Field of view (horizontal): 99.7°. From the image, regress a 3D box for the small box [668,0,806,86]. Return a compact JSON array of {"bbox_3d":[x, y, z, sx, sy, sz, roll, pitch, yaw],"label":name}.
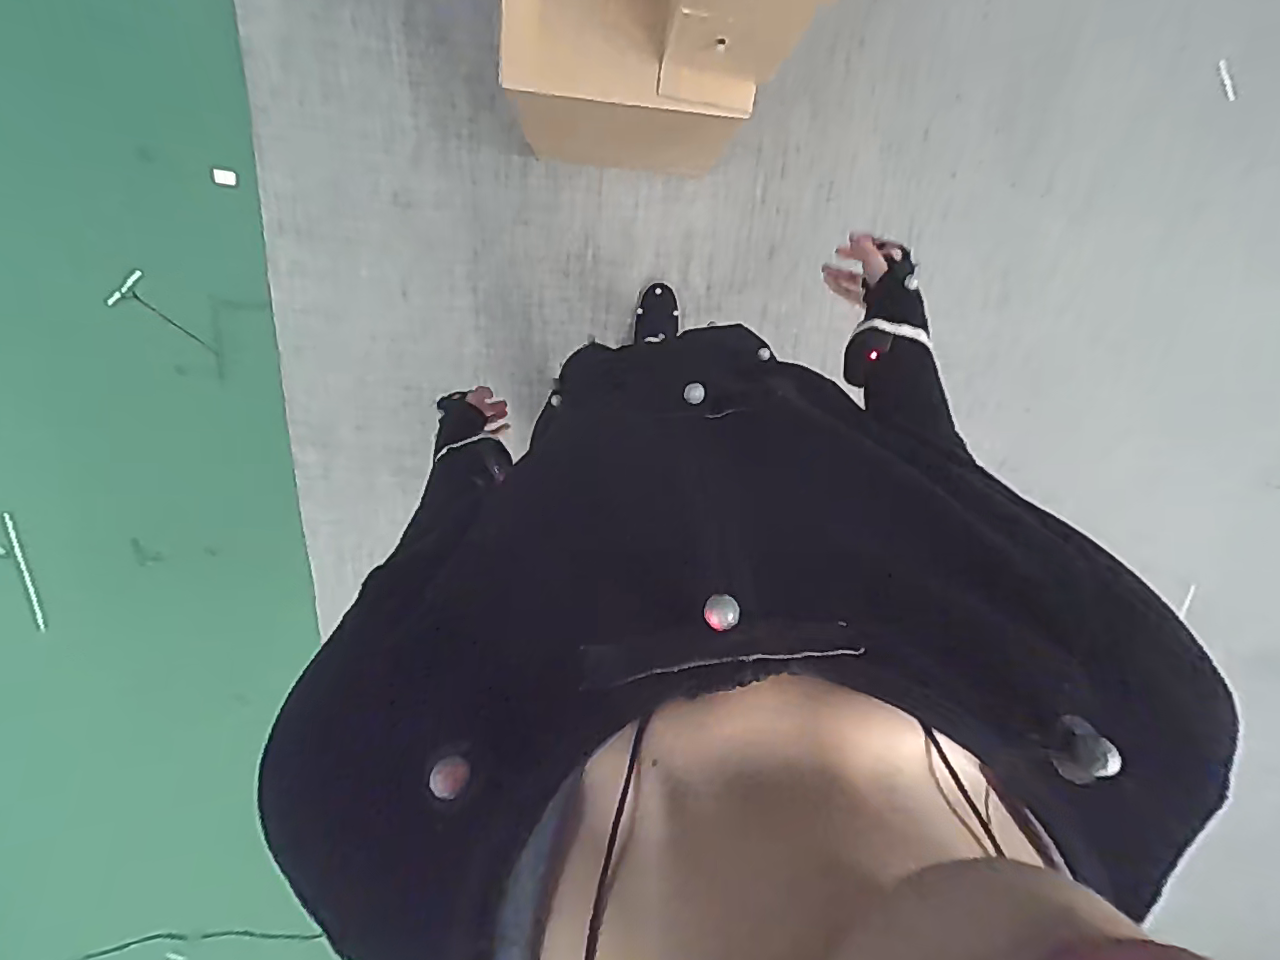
[{"bbox_3d":[0.138,-0.683,0.756,0.179,0.176,0.168,7,109,-4],"label":"small box"}]
